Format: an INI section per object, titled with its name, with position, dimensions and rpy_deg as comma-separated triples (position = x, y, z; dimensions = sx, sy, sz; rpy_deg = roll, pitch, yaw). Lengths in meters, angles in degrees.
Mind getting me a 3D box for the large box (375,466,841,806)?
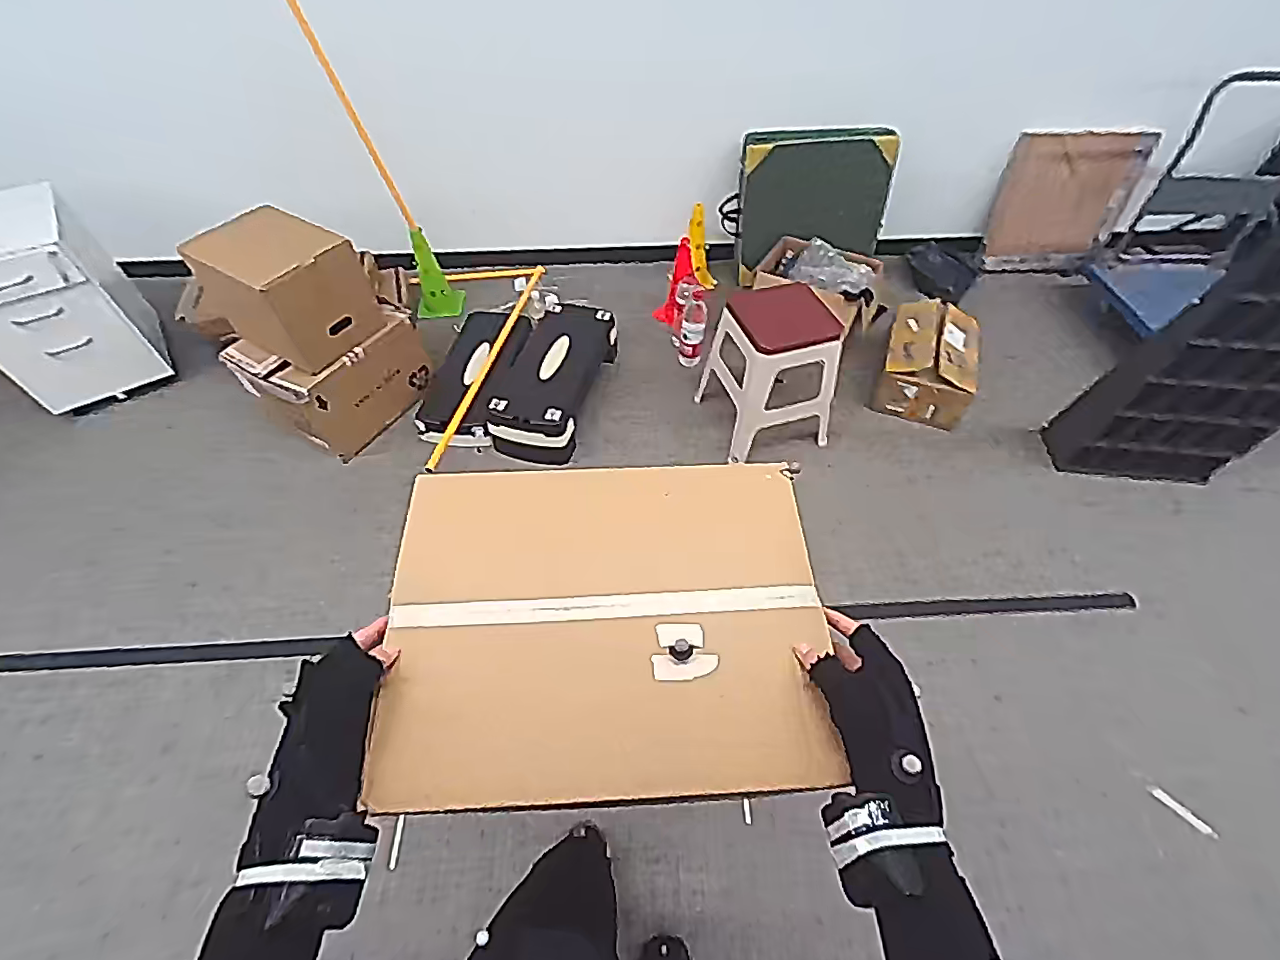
[large box]
position = -0.035, 0.200, 0.657
dimensions = 0.408, 0.320, 0.320
rpy_deg = -2, 58, -2
